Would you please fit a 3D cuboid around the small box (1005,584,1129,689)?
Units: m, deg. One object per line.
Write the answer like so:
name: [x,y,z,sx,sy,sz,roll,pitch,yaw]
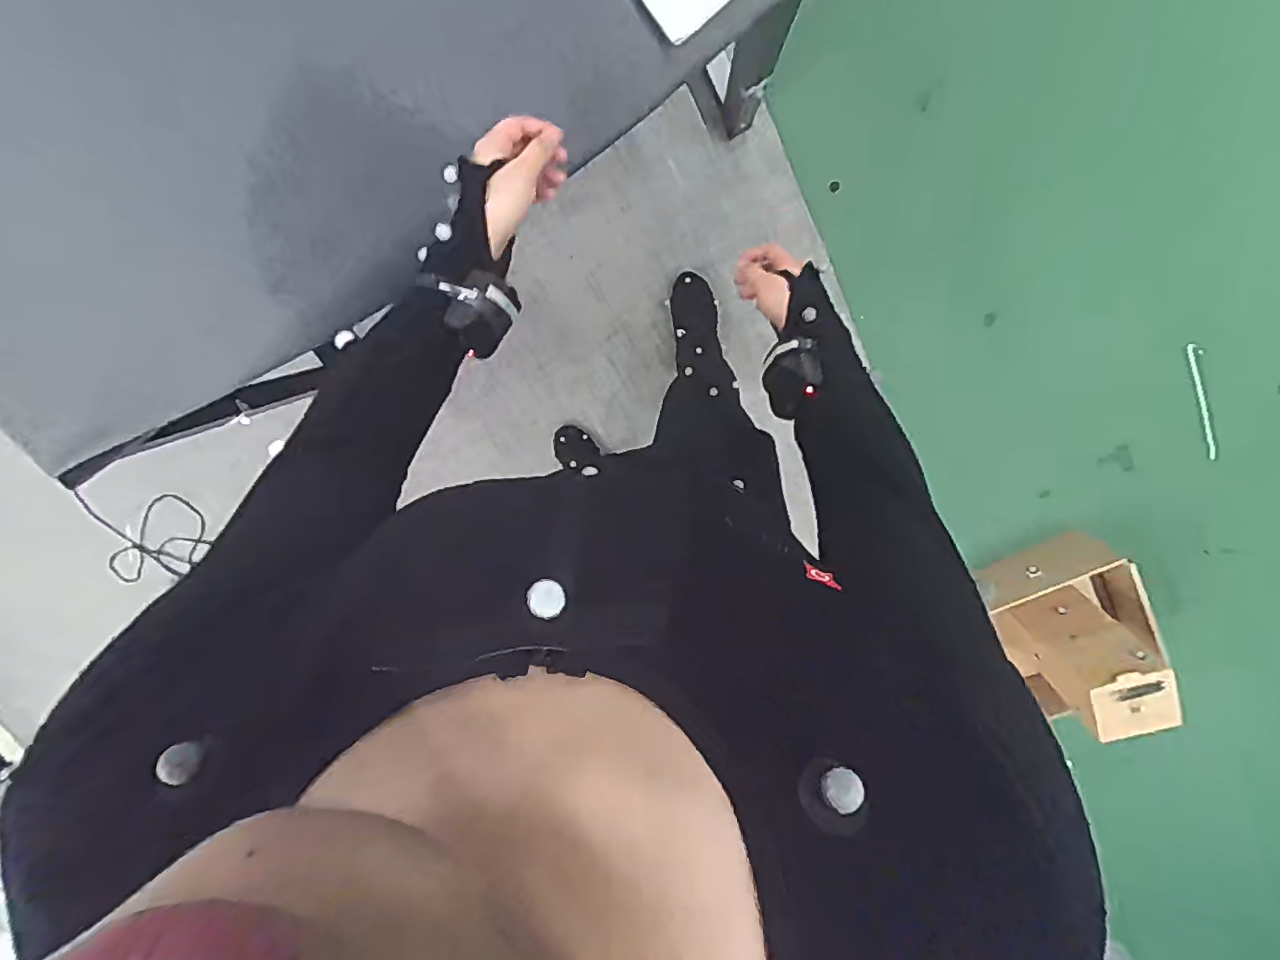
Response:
small box: [1.102,0.400,1.406,0.179,0.176,0.168,-27,107,15]
